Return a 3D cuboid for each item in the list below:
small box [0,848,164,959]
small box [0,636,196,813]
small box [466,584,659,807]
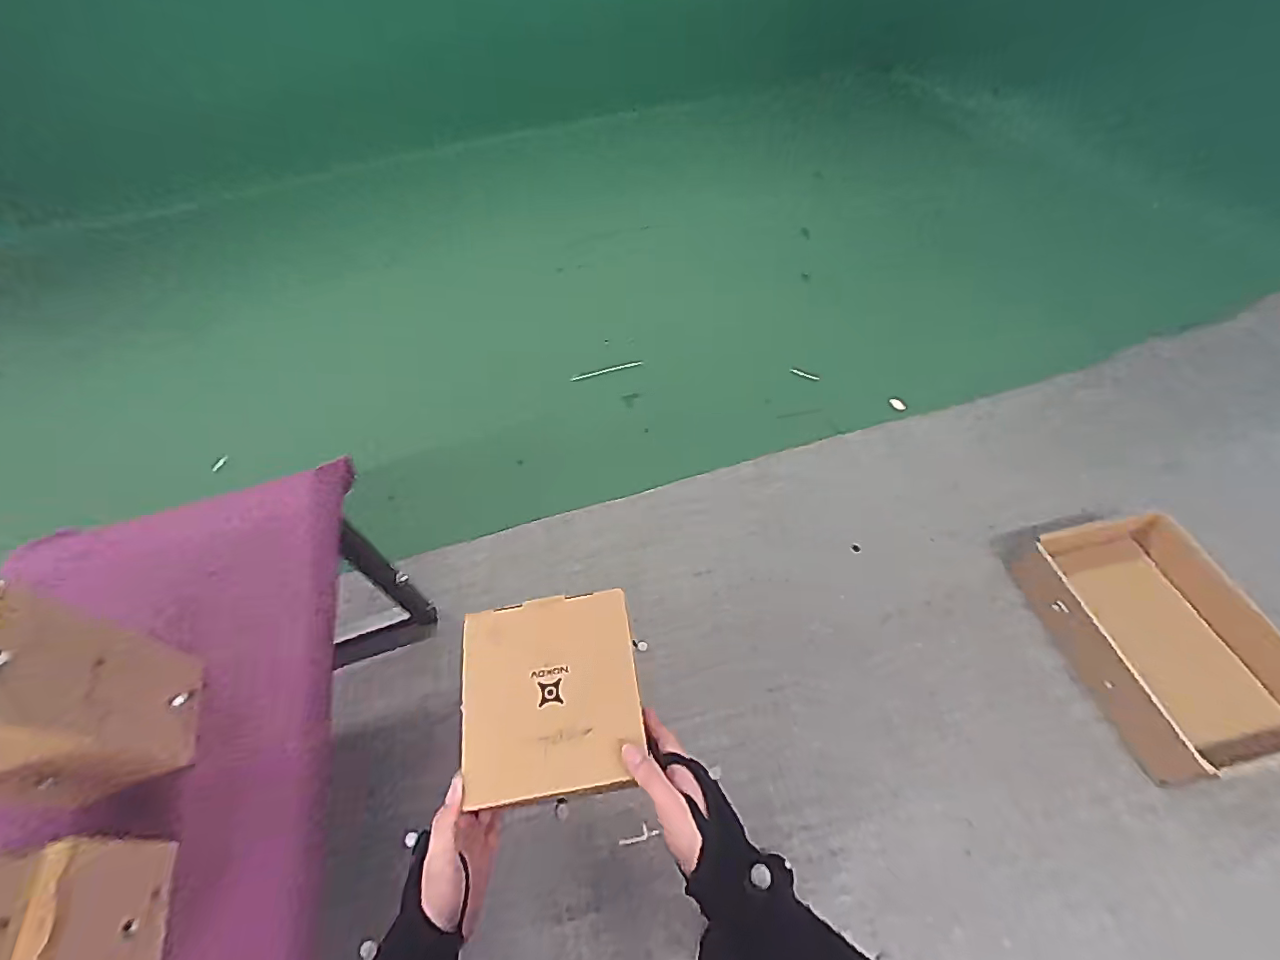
[{"bbox_3d":[-0.724,0.560,0.631,0.179,0.176,0.168,-18,54,-8],"label":"small box"},{"bbox_3d":[-0.805,0.358,0.783,0.179,0.176,0.168,-19,55,-9],"label":"small box"},{"bbox_3d":[-0.074,0.231,0.568,0.168,0.176,0.179,-8,58,-2],"label":"small box"}]
